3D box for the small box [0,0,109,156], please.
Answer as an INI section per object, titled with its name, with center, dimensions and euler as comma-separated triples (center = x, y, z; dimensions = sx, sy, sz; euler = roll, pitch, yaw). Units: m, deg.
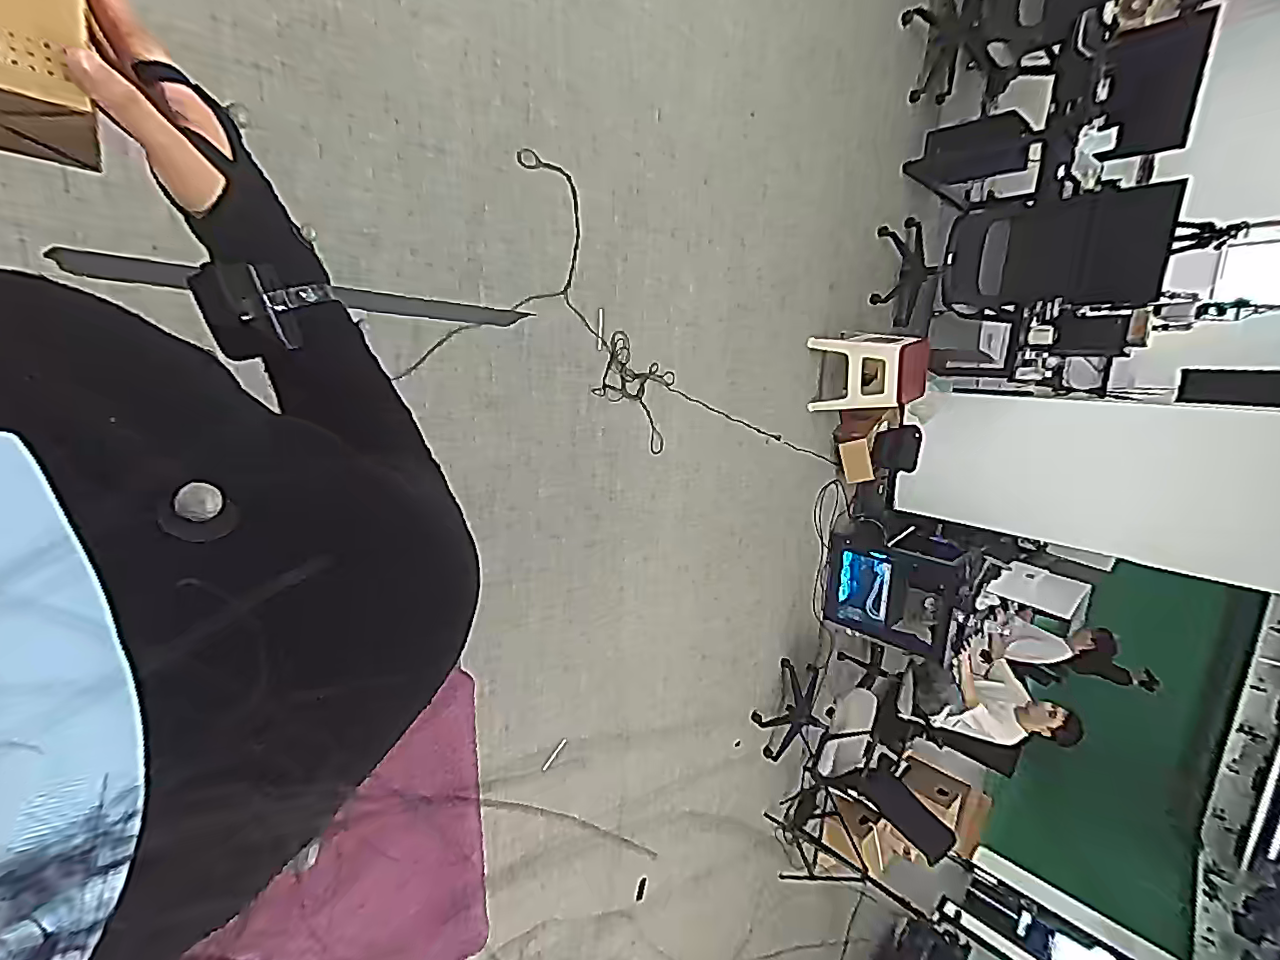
[small box]
center = -0.409, -0.300, 0.292
dimensions = 0.168, 0.179, 0.176
euler = -4, 106, -43
